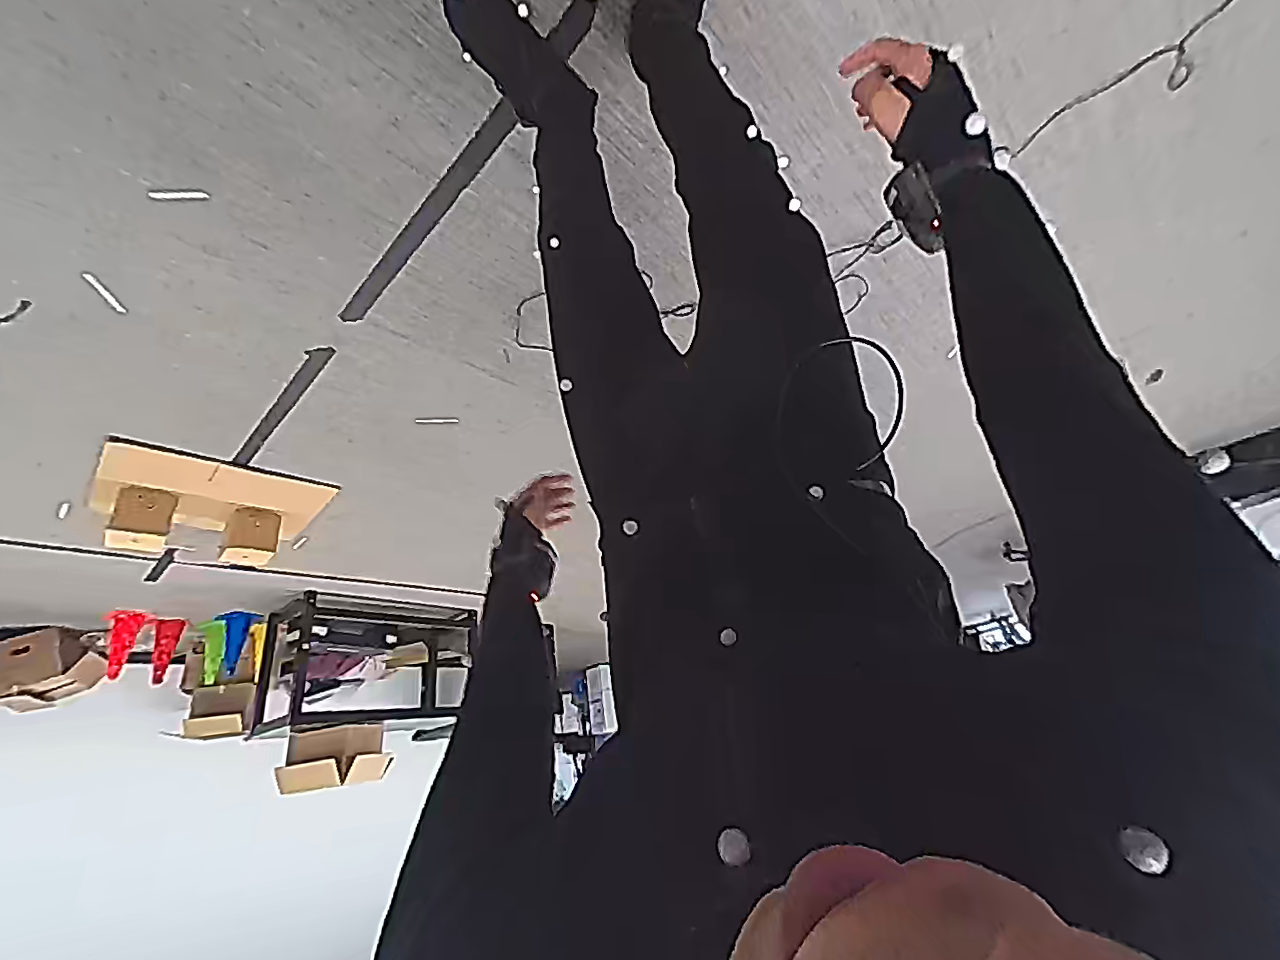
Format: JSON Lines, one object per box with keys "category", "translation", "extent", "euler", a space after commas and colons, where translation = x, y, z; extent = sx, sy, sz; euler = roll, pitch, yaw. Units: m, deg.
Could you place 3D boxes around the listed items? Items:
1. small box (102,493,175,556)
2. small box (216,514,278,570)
{"category": "small box", "translation": [-1.870, 0.170, 2.020], "extent": [0.168, 0.176, 0.179], "euler": [16, 144, -40]}
{"category": "small box", "translation": [-1.632, 0.259, 2.251], "extent": [0.179, 0.176, 0.168], "euler": [-31, 147, 35]}
